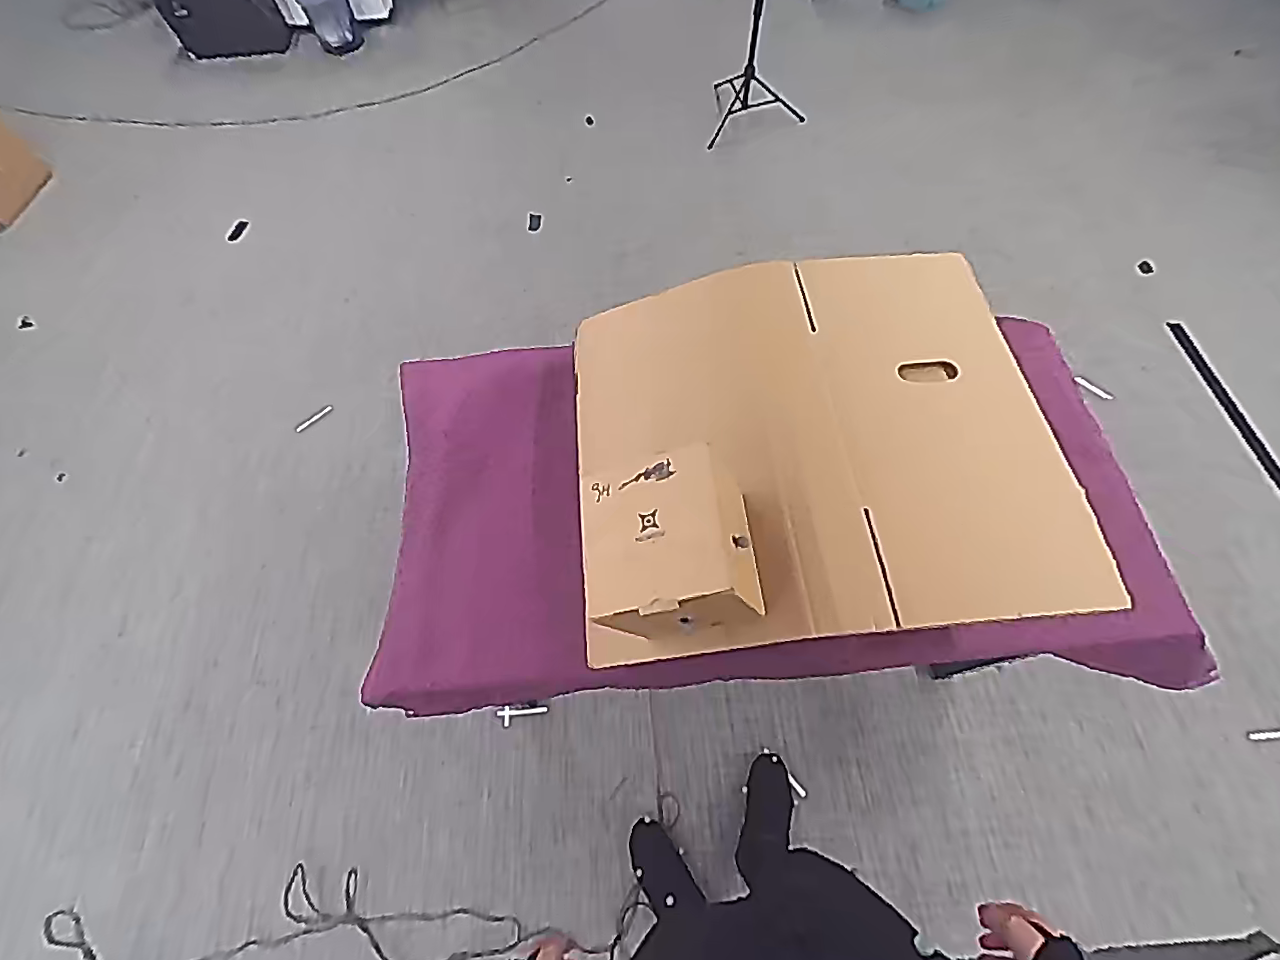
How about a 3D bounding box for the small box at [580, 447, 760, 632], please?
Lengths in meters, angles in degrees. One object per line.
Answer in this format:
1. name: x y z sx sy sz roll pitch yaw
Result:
1. small box: 0.041 0.086 0.668 0.168 0.176 0.179 -16 63 18
